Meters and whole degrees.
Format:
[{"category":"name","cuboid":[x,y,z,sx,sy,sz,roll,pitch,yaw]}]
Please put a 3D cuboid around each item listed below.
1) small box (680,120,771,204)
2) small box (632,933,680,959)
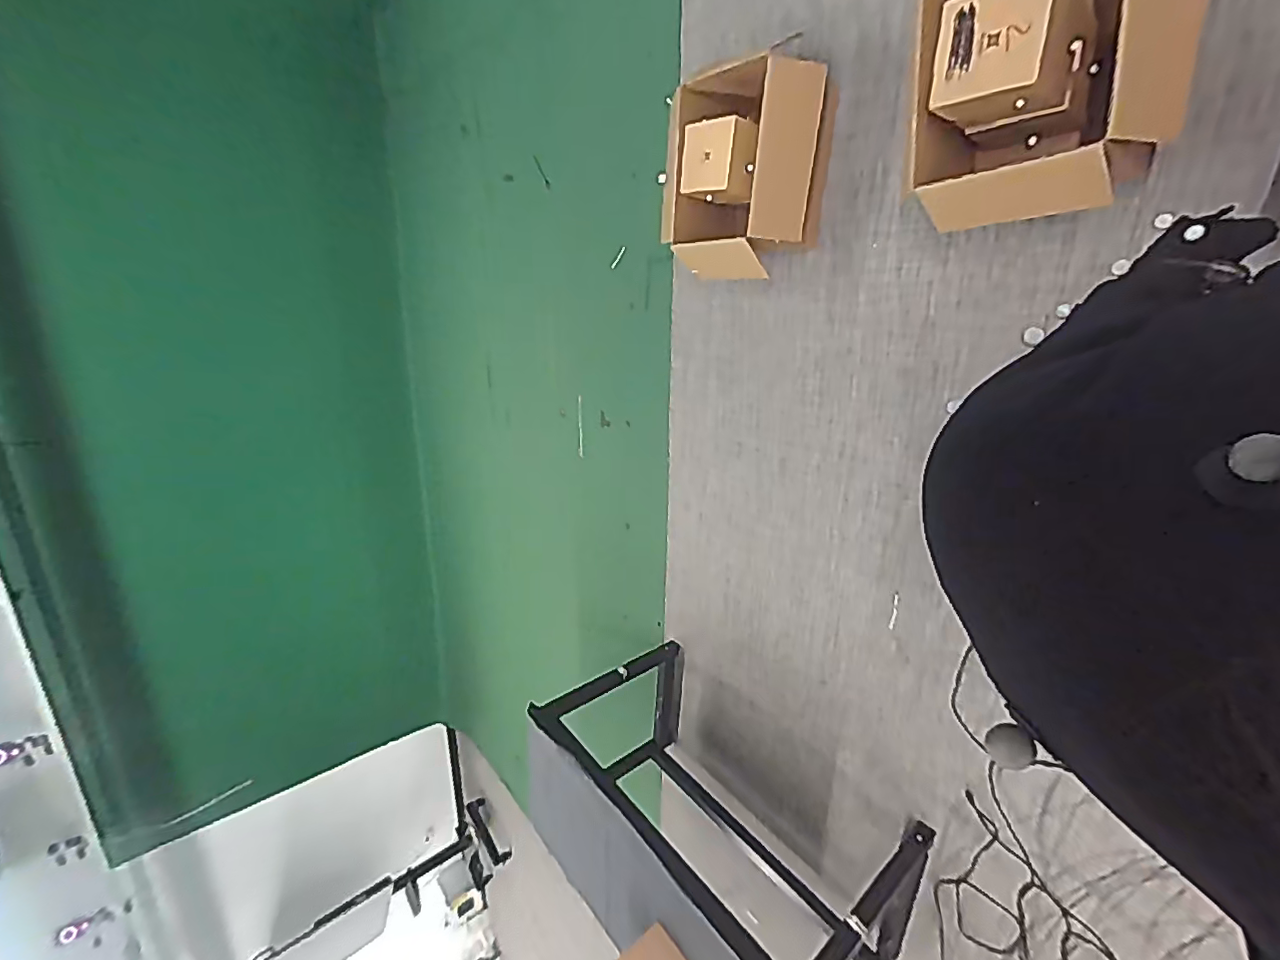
[{"category":"small box","cuboid":[0.234,-0.858,1.475,0.179,0.176,0.168,24,117,44]},{"category":"small box","cuboid":[0.044,1.395,1.456,0.179,0.176,0.168,26,119,45]}]
